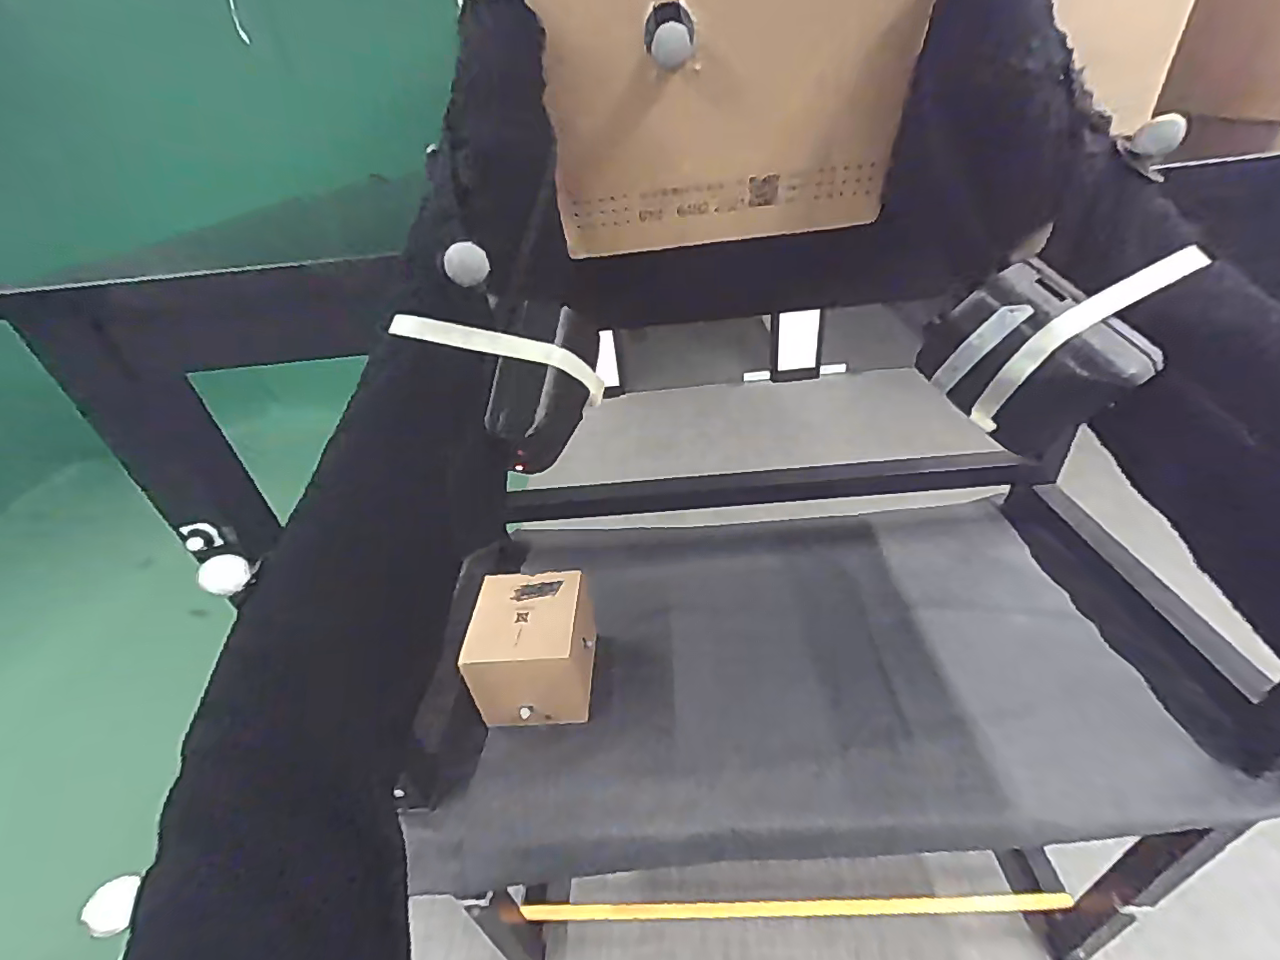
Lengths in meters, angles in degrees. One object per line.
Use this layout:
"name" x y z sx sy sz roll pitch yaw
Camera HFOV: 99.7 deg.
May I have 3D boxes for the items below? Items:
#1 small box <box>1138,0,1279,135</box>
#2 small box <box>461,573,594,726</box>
"small box" 0.505 -0.343 0.368 0.168 0.176 0.179 2 35 13
"small box" -0.171 0.276 0.888 0.168 0.176 0.179 -4 35 4
